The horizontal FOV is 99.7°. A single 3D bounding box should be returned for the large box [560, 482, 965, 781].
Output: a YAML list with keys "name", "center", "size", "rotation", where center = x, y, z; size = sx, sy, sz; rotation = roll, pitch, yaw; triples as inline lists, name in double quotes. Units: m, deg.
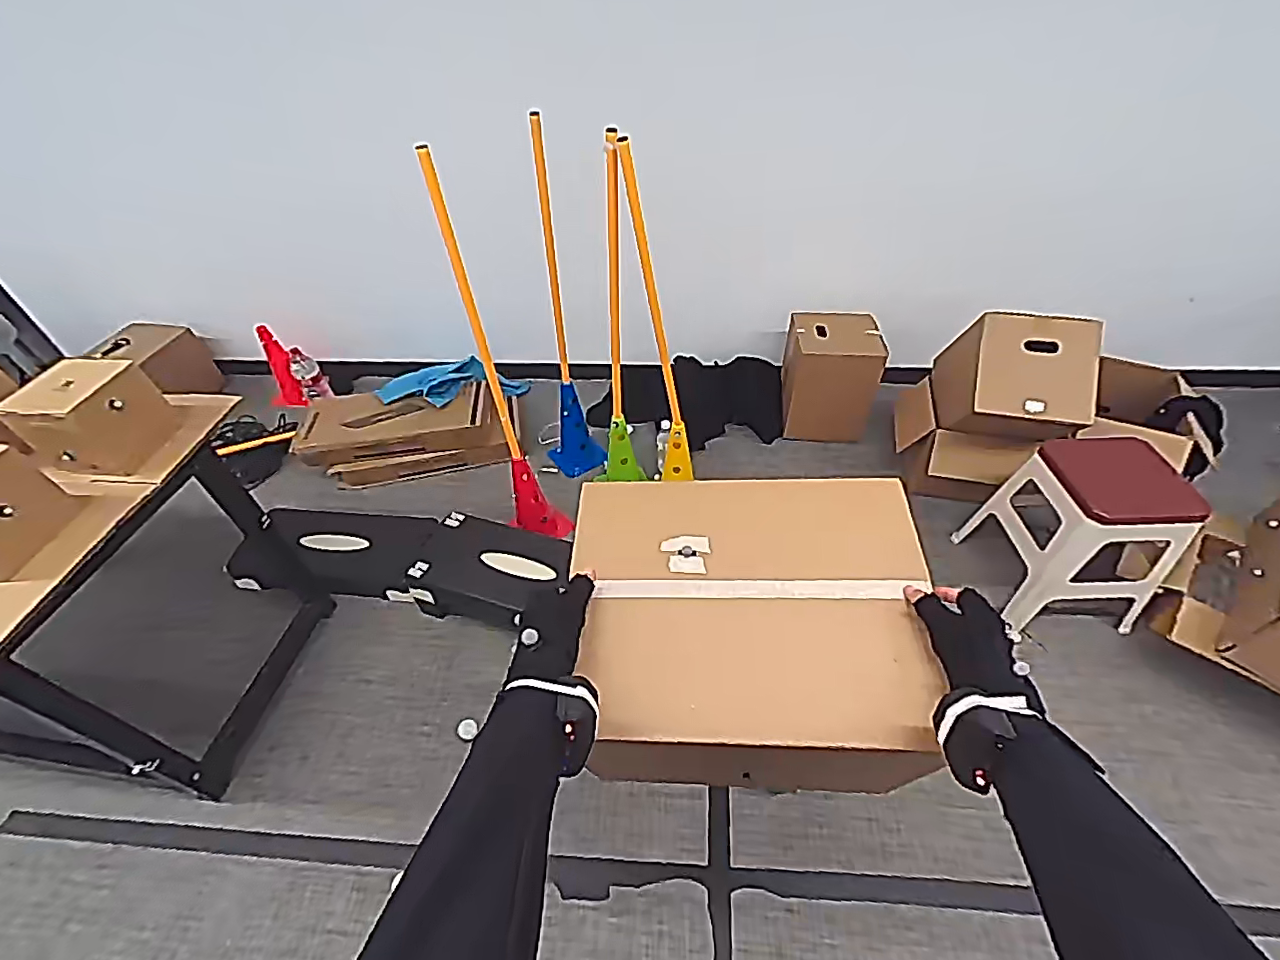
- name: "large box"
  center: [0.136, 0.219, 0.738]
  size: [0.408, 0.320, 0.320]
  rotation: [-1, 53, 6]
